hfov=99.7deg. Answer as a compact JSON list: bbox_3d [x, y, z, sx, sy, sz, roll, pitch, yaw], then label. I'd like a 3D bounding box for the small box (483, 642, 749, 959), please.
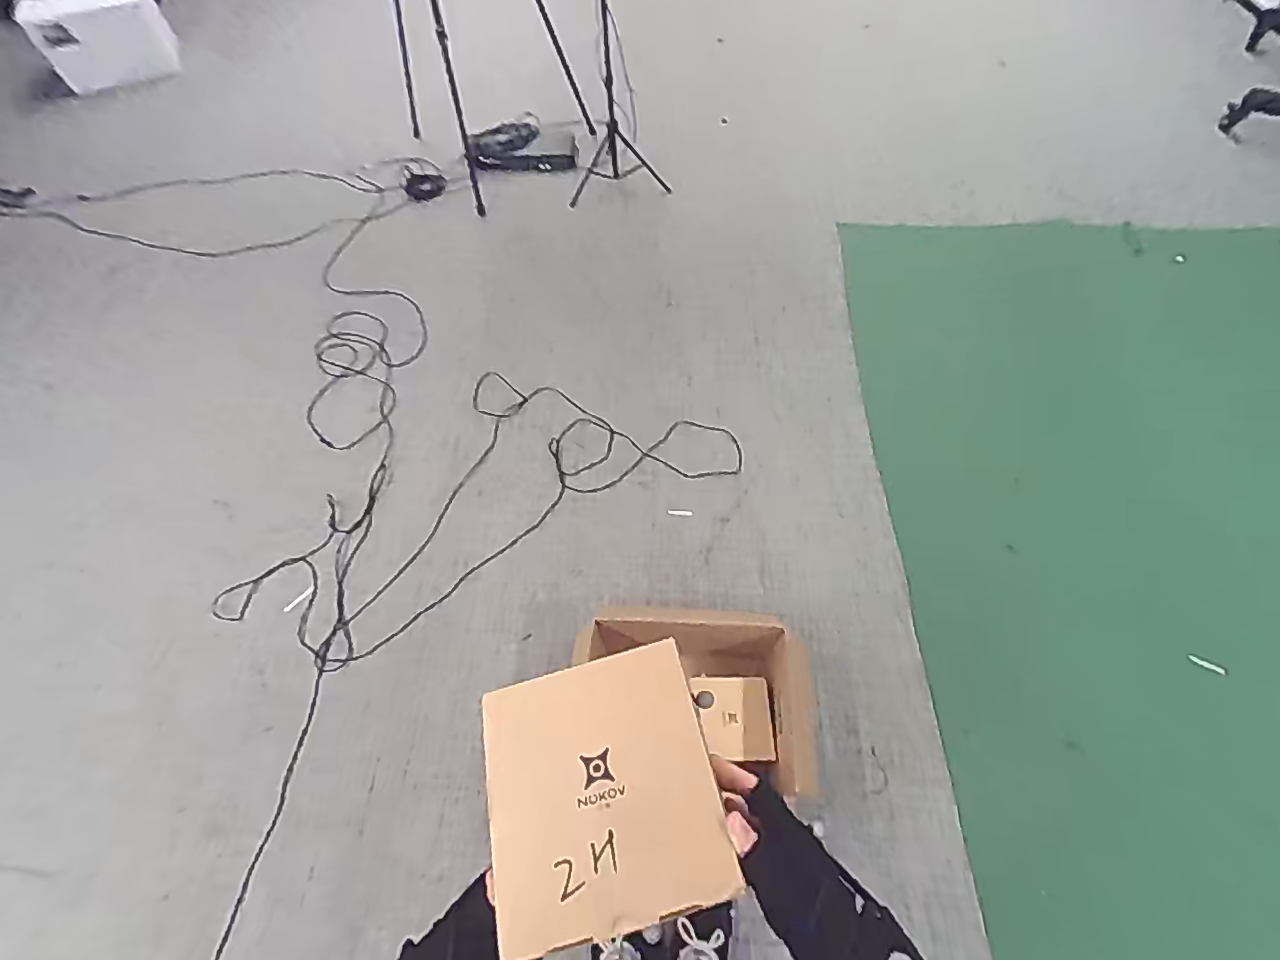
[{"bbox_3d":[-0.017,0.263,0.448,0.168,0.176,0.179,-16,54,0],"label":"small box"}]
